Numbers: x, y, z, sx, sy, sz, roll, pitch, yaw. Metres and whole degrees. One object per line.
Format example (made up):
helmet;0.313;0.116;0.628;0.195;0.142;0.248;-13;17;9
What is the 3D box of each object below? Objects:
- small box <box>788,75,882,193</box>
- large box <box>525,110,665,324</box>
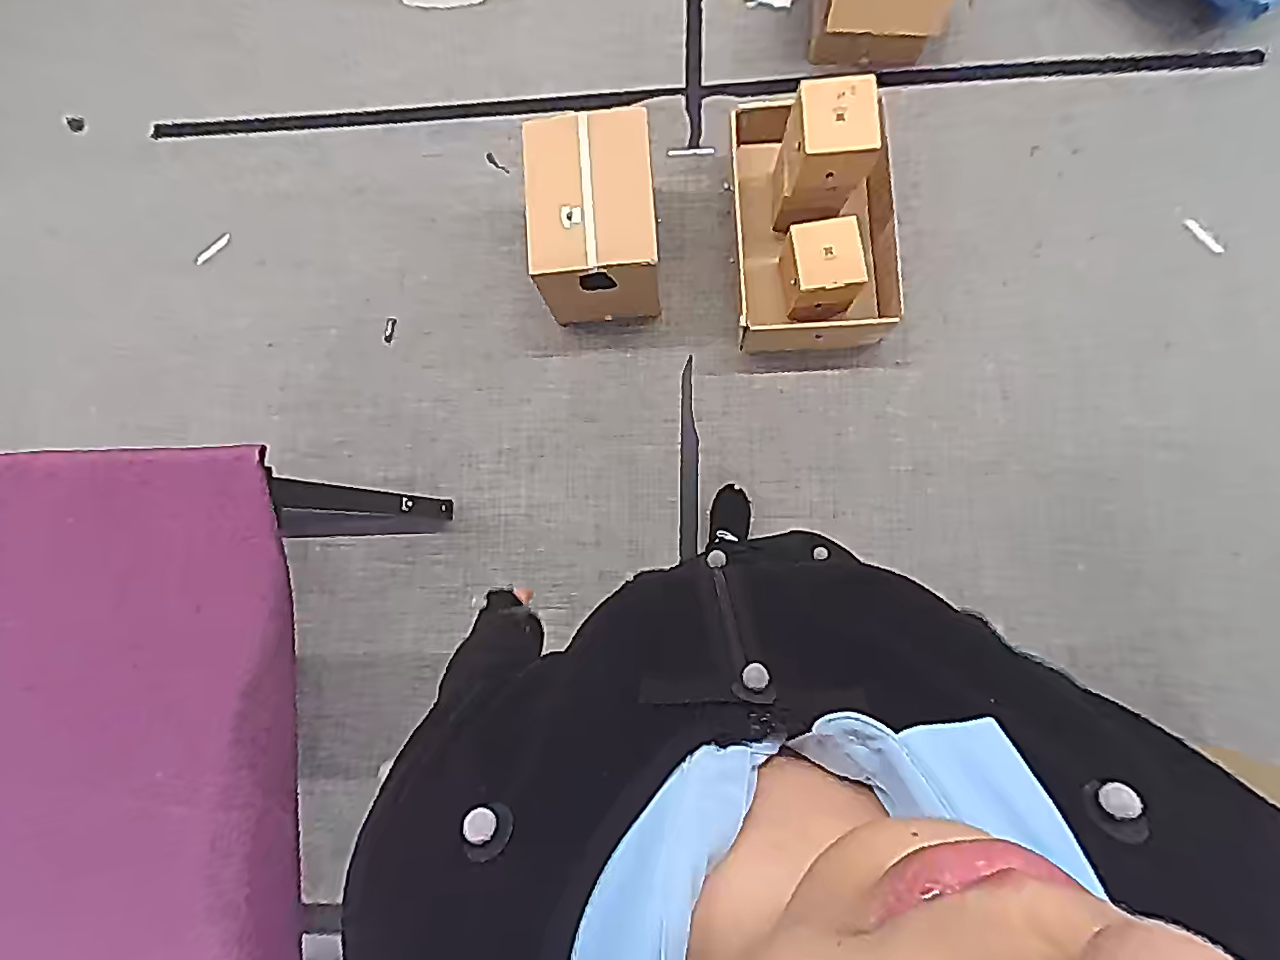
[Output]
small box;0.452;-0.801;1.271;0.168;0.176;0.179;-2;86;3
large box;-0.104;-0.676;1.446;0.320;0.320;0.408;-5;85;5
